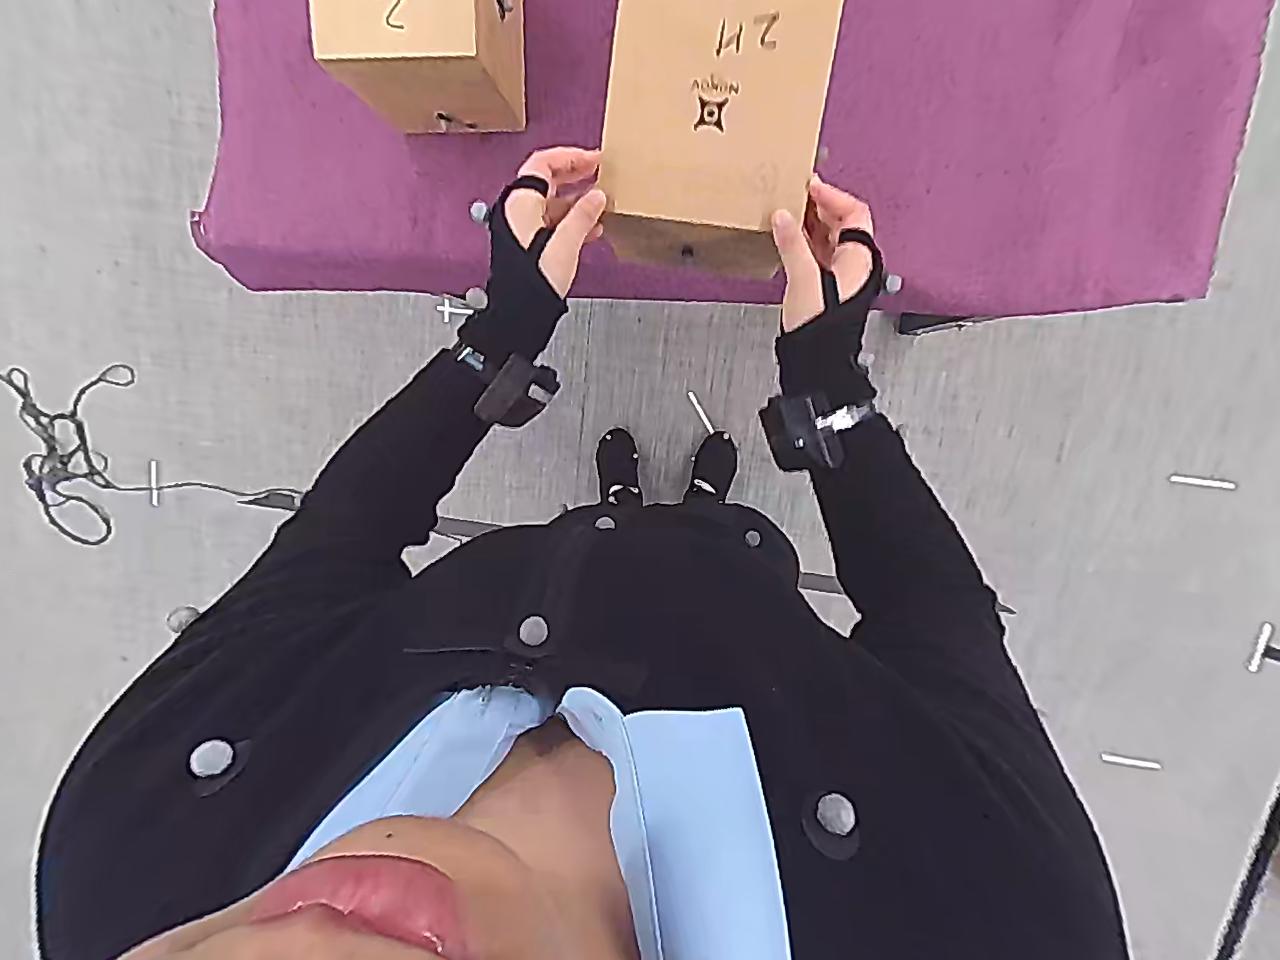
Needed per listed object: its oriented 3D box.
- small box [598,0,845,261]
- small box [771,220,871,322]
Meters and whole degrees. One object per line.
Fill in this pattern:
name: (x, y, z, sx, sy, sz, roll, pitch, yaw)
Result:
small box: (0.066, -0.310, 0.488, 0.168, 0.176, 0.179, 9, 101, 3)
small box: (0.418, -0.486, 1.286, 0.168, 0.176, 0.179, 15, 100, 2)
